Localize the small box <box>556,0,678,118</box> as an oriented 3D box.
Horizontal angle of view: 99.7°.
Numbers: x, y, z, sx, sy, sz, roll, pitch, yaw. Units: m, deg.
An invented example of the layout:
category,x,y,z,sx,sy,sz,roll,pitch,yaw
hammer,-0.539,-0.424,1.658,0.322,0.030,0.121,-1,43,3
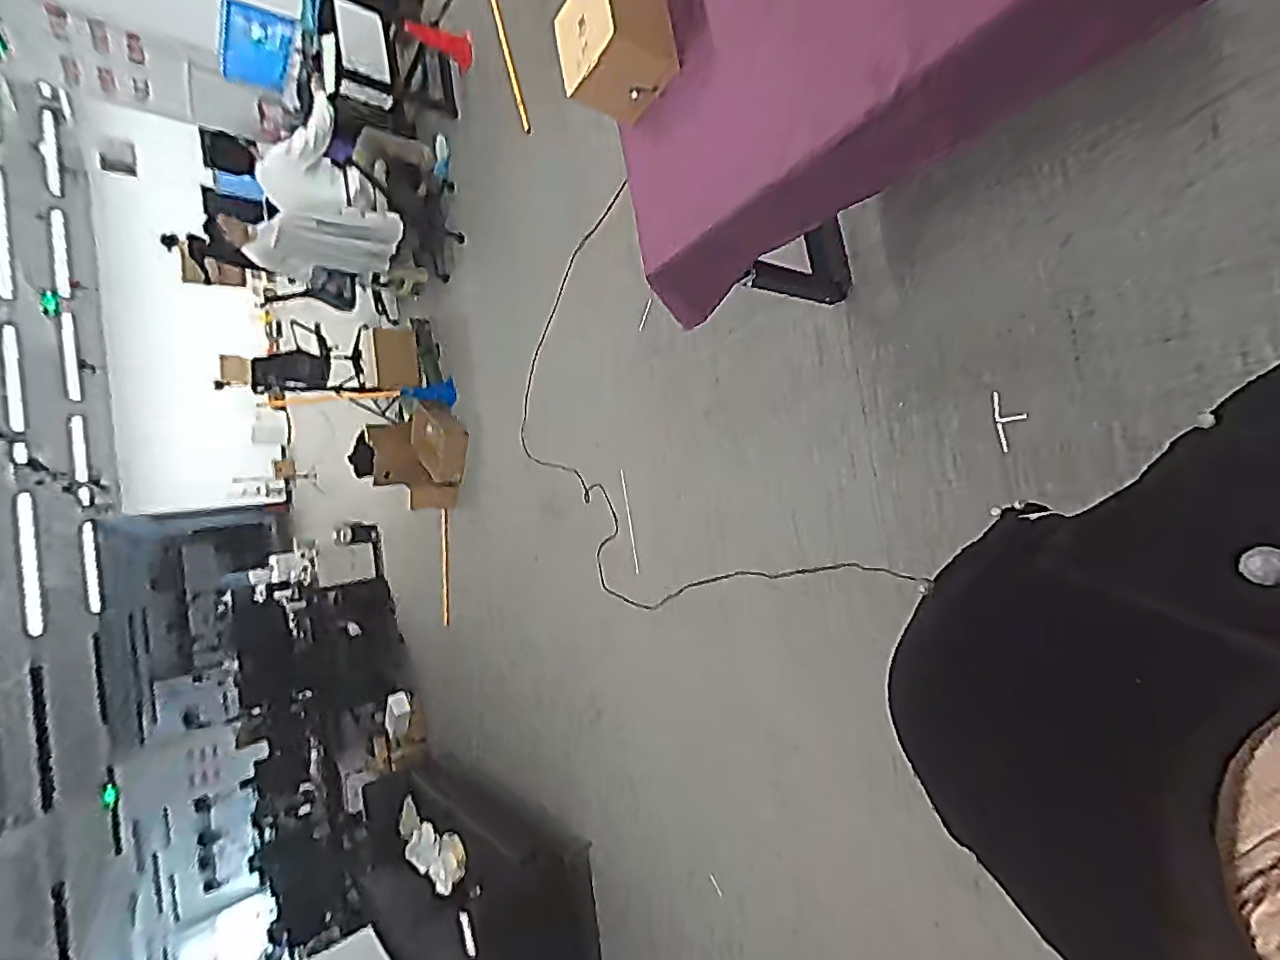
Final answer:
category,x,y,z,sx,sy,sz,roll,pitch,yaw
small box,-0.045,-0.885,1.092,0.168,0.176,0.179,-15,83,50
